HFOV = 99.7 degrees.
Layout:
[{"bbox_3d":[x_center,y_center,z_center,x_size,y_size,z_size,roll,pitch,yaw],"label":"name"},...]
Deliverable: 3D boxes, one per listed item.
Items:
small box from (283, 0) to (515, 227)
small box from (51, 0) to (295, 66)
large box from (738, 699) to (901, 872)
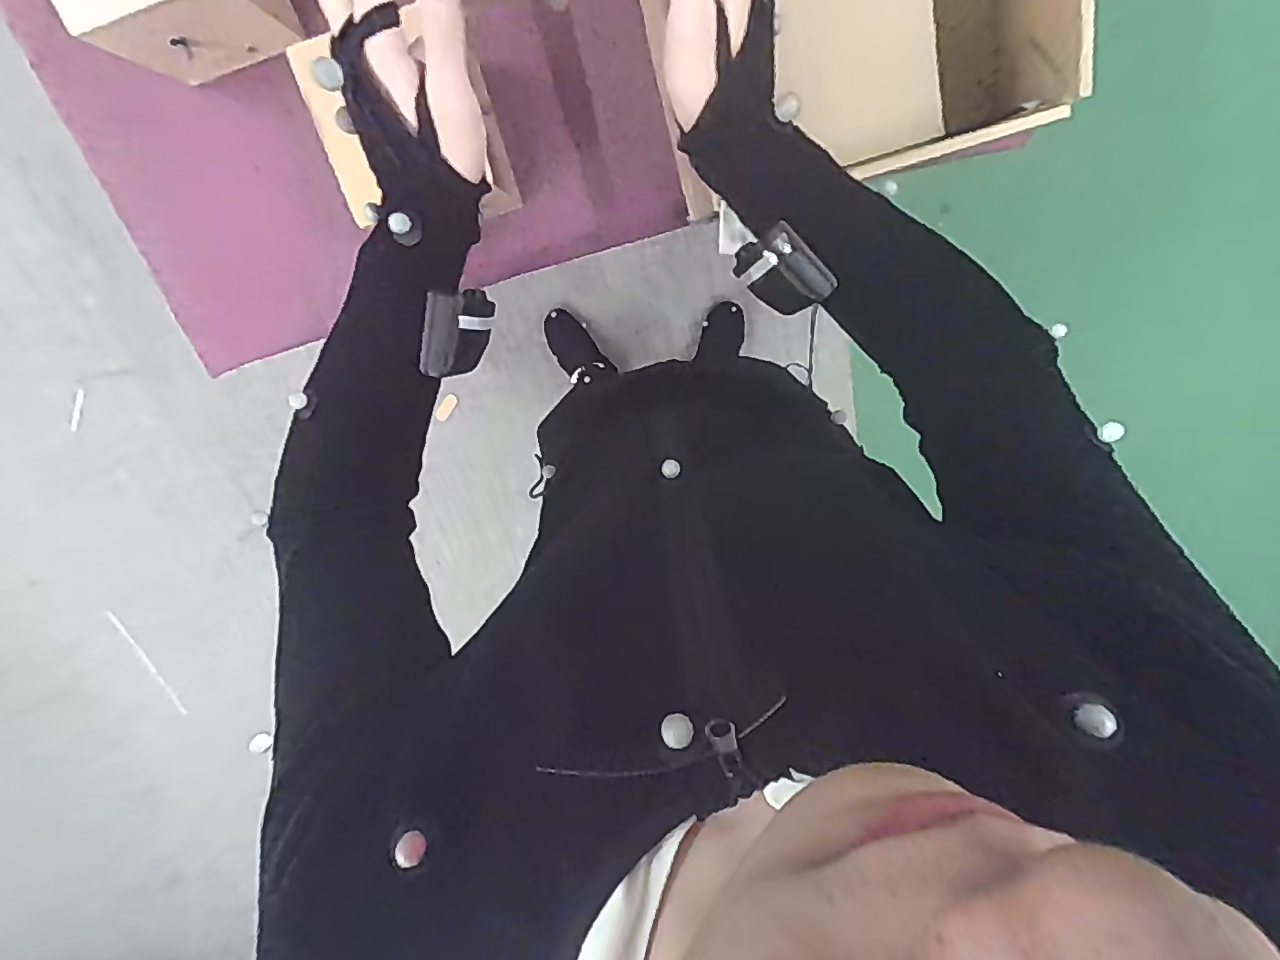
[{"bbox_3d":[-0.262,-0.413,0.640,0.168,0.176,0.179,-14,109,4],"label":"small box"},{"bbox_3d":[-0.516,-0.578,0.572,0.168,0.176,0.179,-16,110,6],"label":"small box"},{"bbox_3d":[0.621,1.087,1.940,0.320,0.320,0.408,40,104,-16],"label":"large box"}]
